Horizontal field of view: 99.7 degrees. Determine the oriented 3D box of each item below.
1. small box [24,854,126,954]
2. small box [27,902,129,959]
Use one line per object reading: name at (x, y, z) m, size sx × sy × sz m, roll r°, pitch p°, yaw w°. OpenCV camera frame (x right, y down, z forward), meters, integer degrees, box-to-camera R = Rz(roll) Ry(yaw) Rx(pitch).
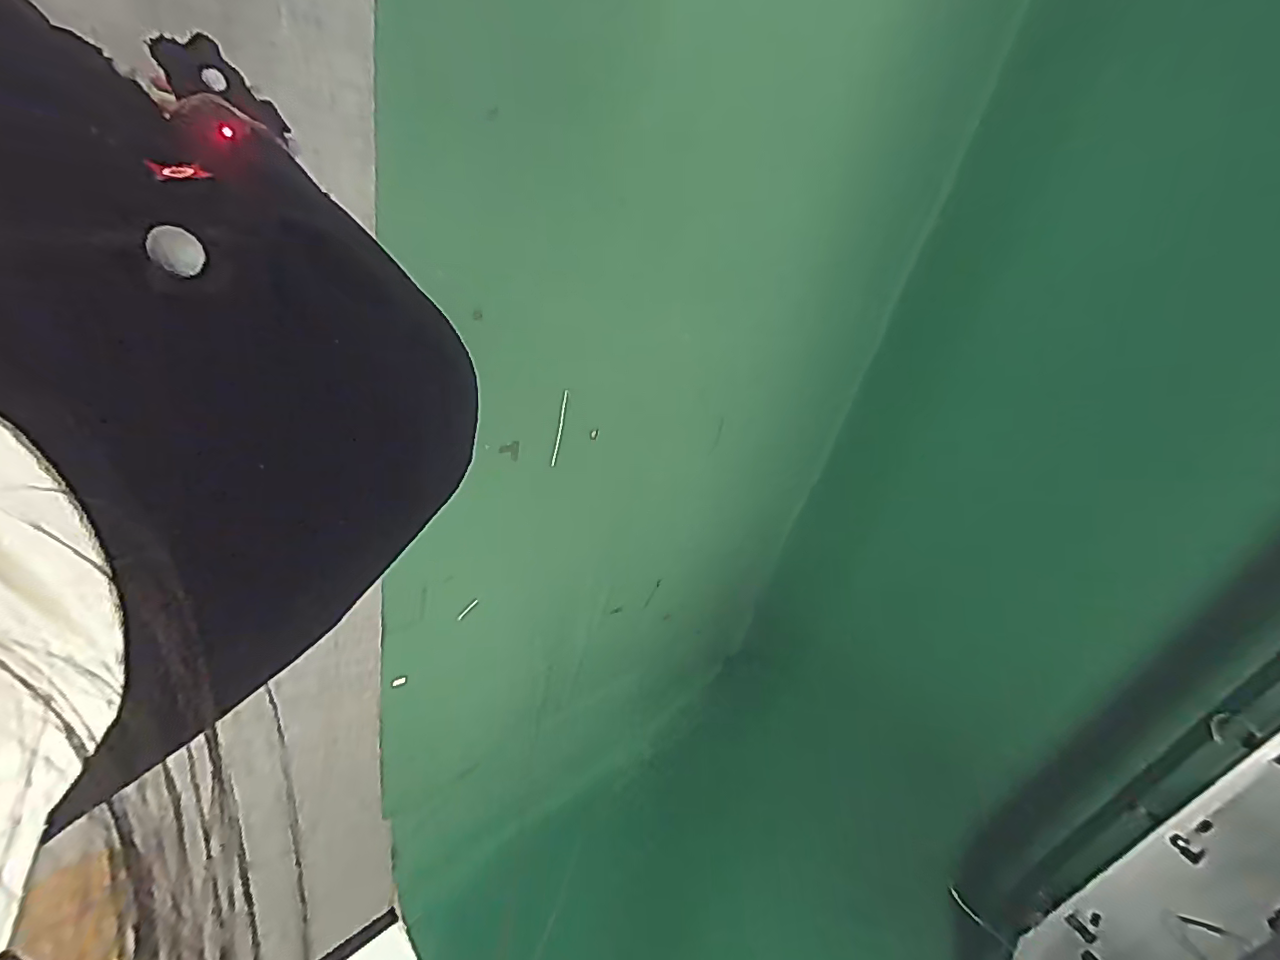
small box at (-1.626, 1.241, 1.556) m, size 0.179 × 0.176 × 0.168 m, roll -17°, pitch 132°, yaw -44°
small box at (-1.514, 1.310, 1.461) m, size 0.179 × 0.176 × 0.168 m, roll -14°, pitch 129°, yaw -43°
